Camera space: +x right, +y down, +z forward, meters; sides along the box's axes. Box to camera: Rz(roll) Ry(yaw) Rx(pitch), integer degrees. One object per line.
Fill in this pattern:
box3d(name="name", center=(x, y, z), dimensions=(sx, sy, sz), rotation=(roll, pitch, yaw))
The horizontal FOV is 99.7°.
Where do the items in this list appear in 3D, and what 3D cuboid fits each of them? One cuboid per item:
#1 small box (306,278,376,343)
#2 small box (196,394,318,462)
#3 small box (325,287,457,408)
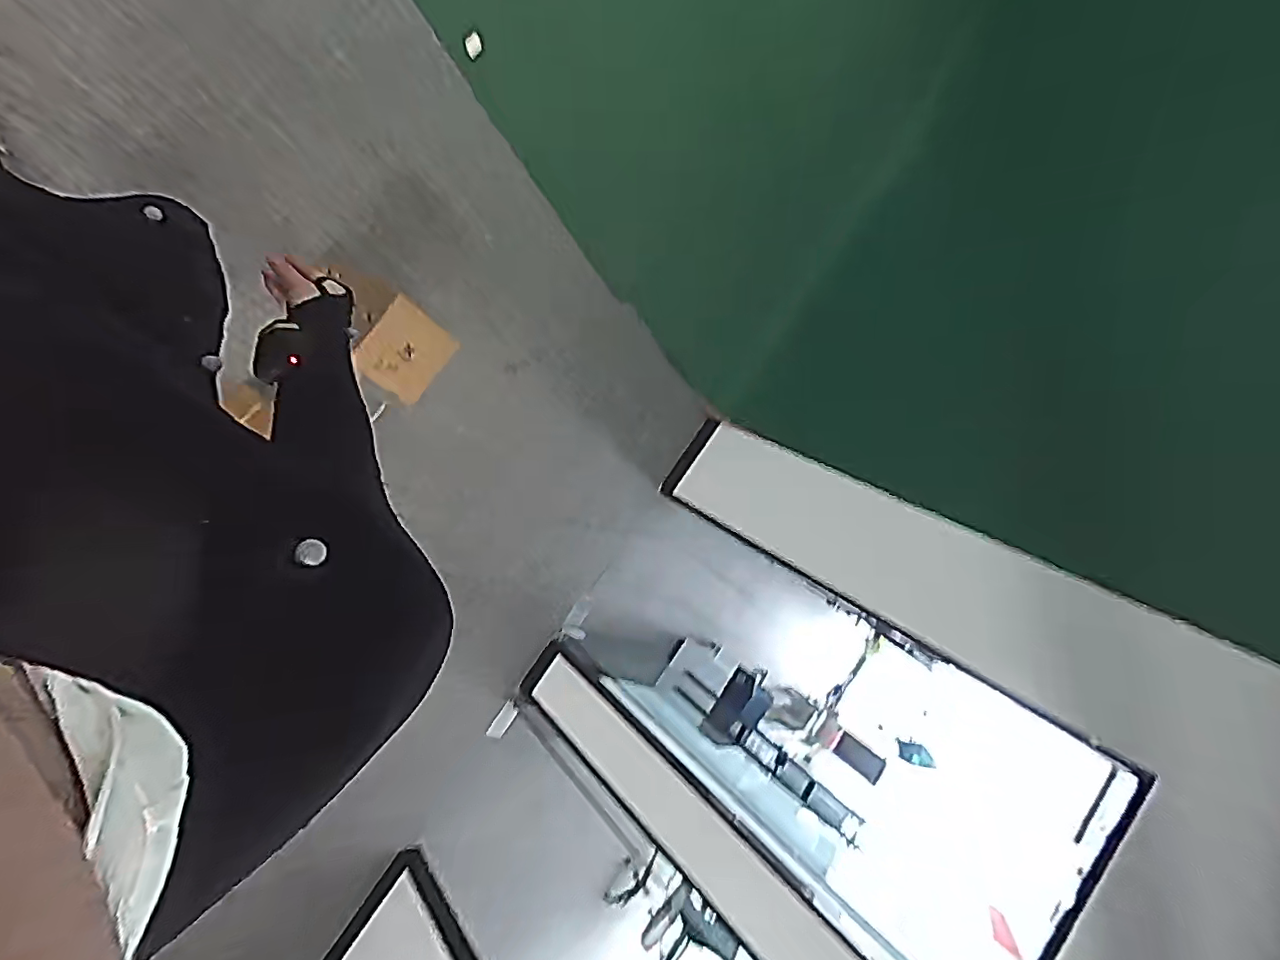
box3d(name="small box", center=(-0.650, -0.358, 1.284), dimensions=(0.168, 0.176, 0.179), rotation=(-56, 144, -5))
box3d(name="small box", center=(-0.968, -0.098, 1.362), dimensions=(0.168, 0.176, 0.179), rotation=(-50, 140, -12))
box3d(name="small box", center=(-0.545, -0.292, 1.175), dimensions=(0.179, 0.176, 0.168), rotation=(-55, 142, -6))
